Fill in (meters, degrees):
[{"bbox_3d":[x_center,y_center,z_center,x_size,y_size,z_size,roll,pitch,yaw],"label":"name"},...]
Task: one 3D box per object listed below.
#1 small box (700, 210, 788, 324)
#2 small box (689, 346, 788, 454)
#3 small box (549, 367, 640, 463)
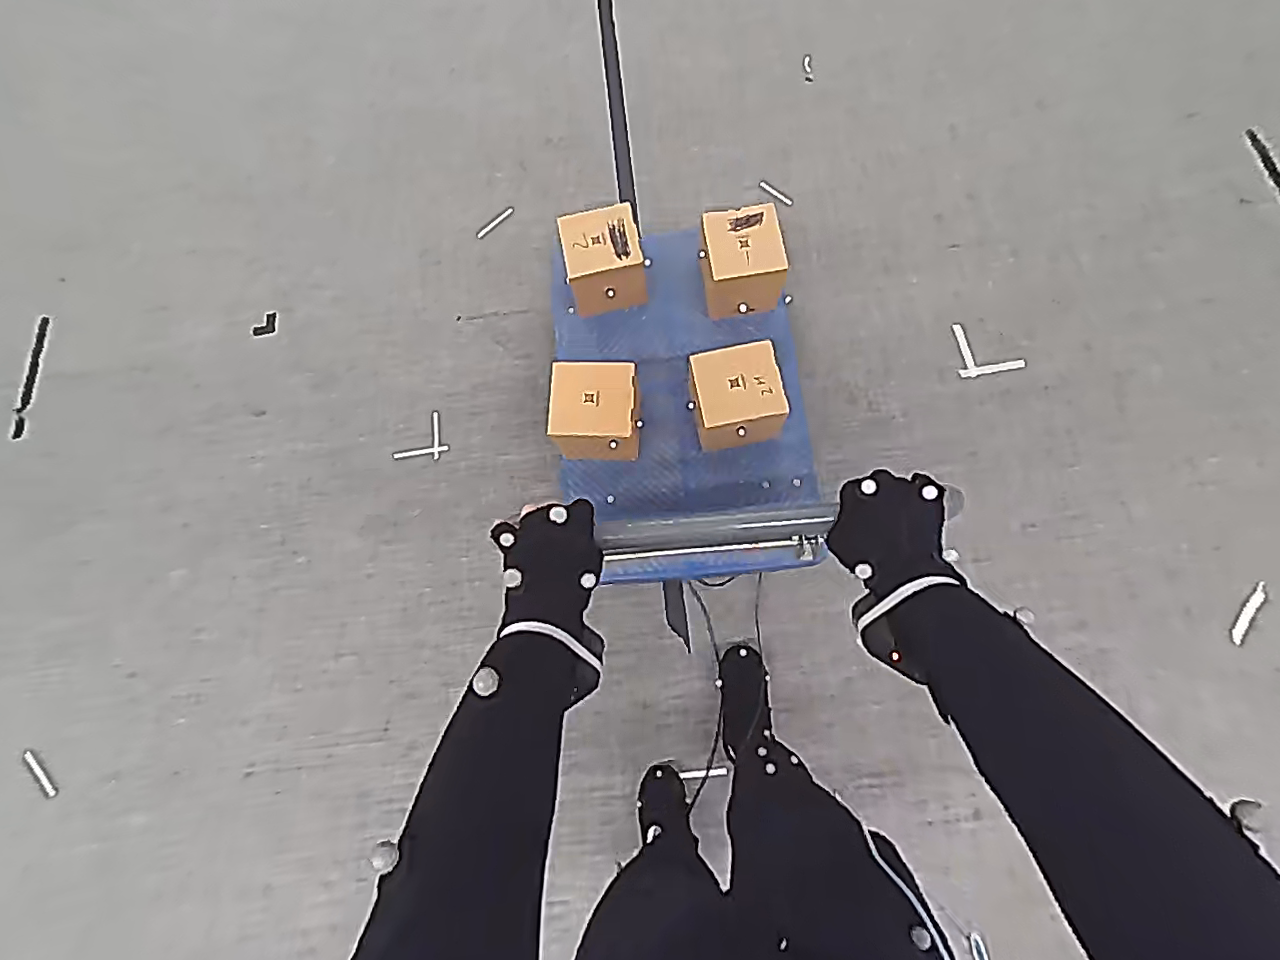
[{"bbox_3d":[0.236,-0.496,1.273,0.168,0.176,0.179,-8,76,2],"label":"small box"},{"bbox_3d":[0.208,-0.168,1.189,0.179,0.176,0.168,-11,75,1],"label":"small box"},{"bbox_3d":[-0.094,-0.139,1.204,0.179,0.176,0.168,1,75,3],"label":"small box"}]
